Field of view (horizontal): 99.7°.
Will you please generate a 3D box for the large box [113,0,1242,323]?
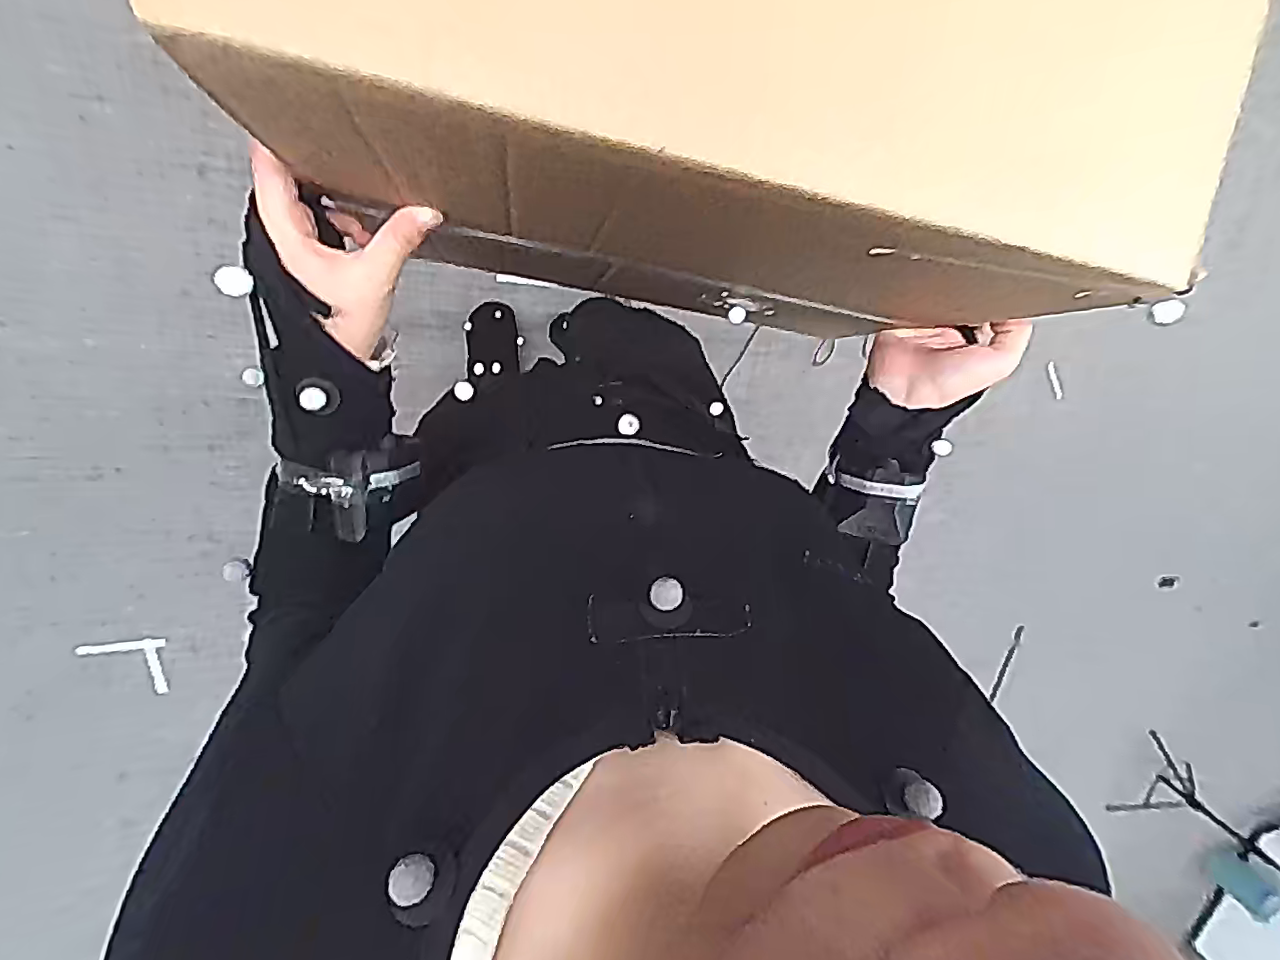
[{"bbox_3d":[0.028,-0.288,0.312,0.408,0.320,0.320,5,101,-12],"label":"large box"}]
